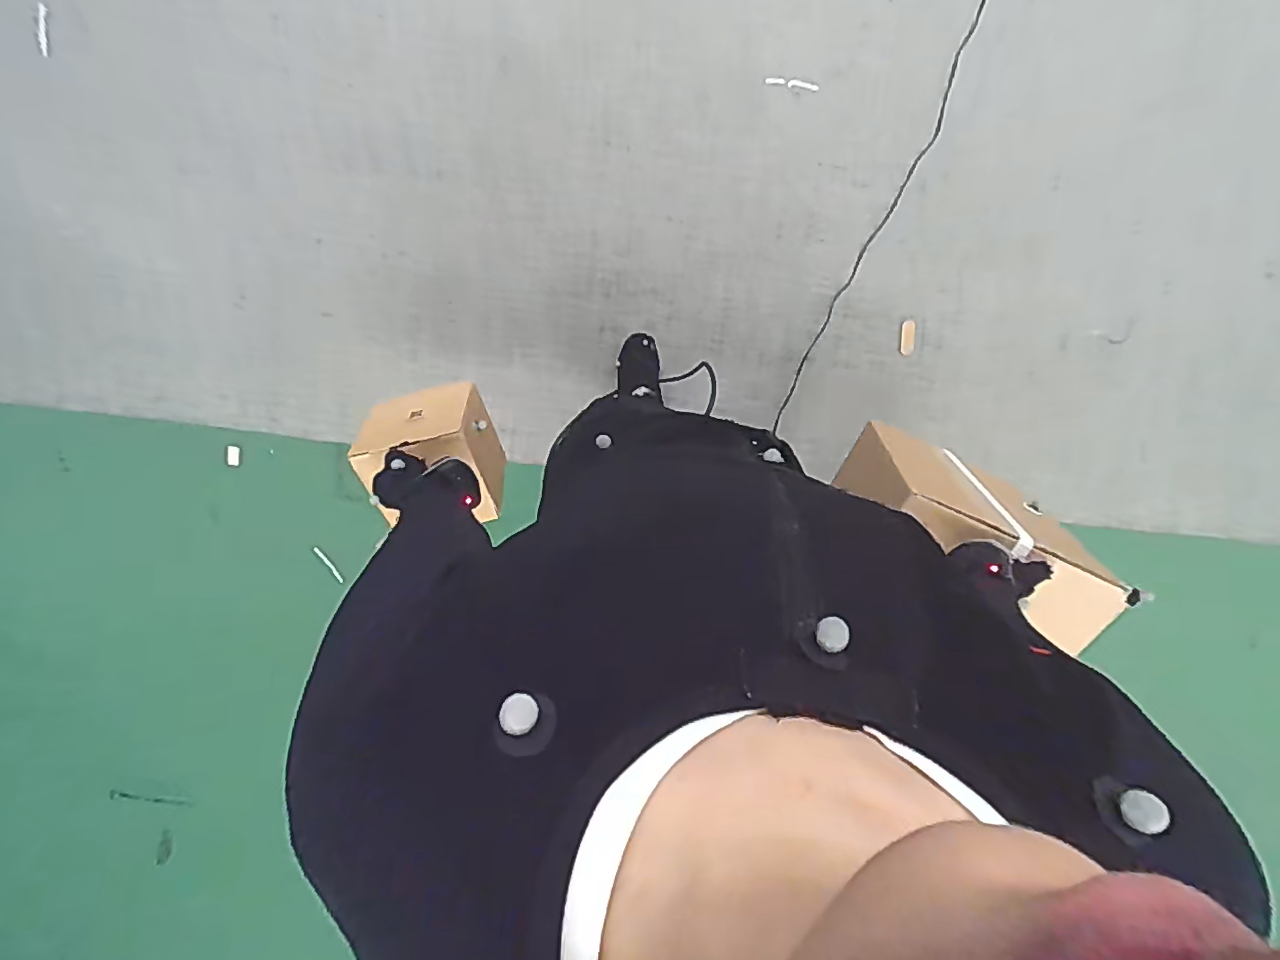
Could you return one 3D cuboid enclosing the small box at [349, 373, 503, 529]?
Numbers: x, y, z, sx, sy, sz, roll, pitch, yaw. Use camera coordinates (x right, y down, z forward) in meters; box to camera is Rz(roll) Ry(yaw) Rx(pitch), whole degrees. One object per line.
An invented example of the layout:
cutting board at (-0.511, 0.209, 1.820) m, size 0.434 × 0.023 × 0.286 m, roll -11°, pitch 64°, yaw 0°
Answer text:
small box at (-0.330, -0.048, 0.878) m, size 0.168 × 0.179 × 0.176 m, roll -14°, pitch 127°, yaw 0°
